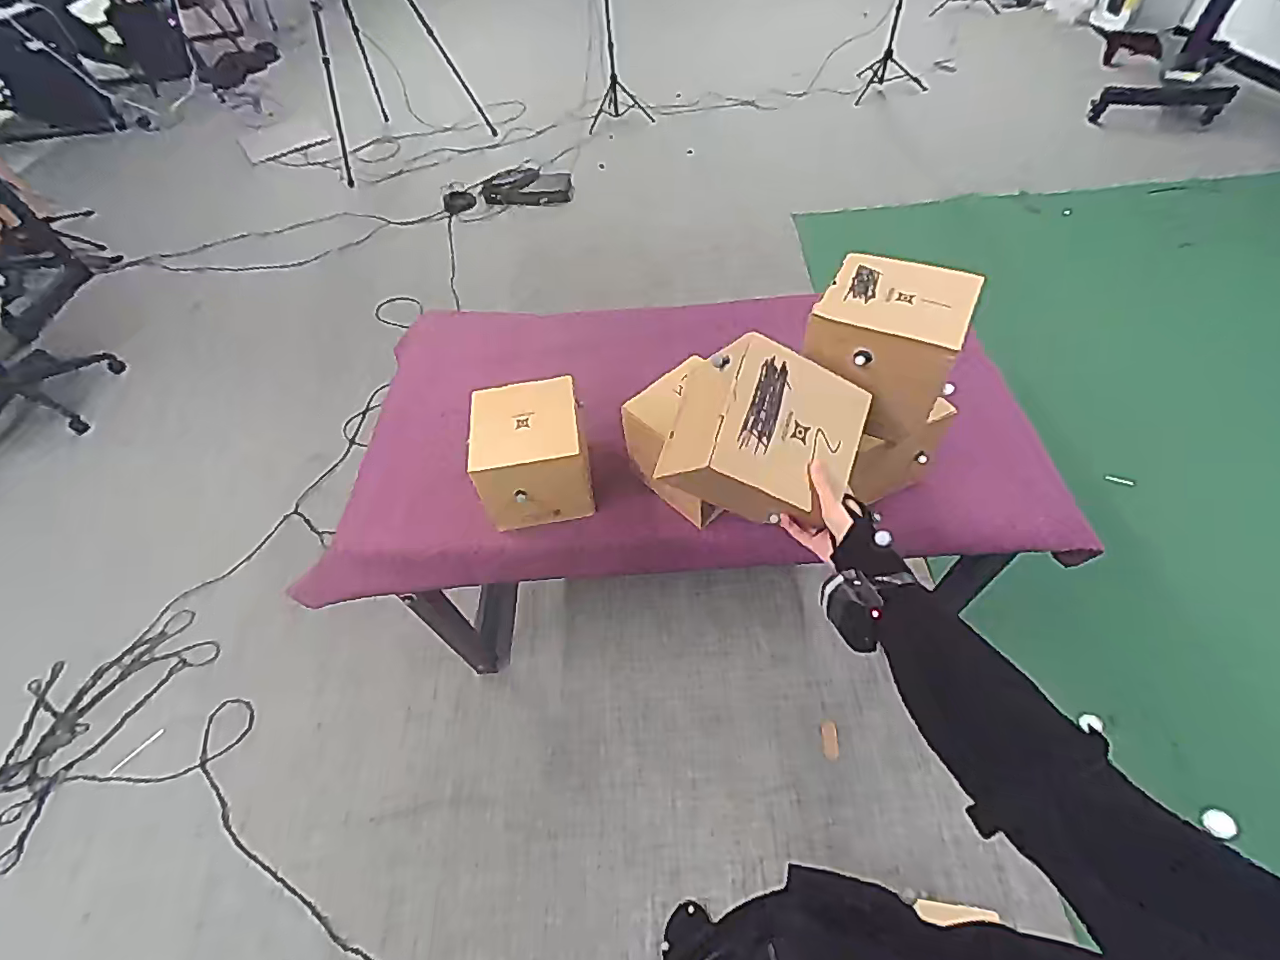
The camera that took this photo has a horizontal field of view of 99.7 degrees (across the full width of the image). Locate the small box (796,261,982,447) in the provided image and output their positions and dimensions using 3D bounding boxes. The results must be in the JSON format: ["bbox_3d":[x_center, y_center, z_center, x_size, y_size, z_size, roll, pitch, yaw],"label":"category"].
[{"bbox_3d":[0.332,-0.172,0.748,0.179,0.176,0.168,22,56,21],"label":"small box"}]

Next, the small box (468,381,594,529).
[{"bbox_3d":[-0.173,-0.034,0.894,0.168,0.176,0.179,-10,51,-2],"label":"small box"}]

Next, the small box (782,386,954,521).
[{"bbox_3d":[0.350,-0.065,0.870,0.179,0.176,0.168,-22,52,-11],"label":"small box"}]

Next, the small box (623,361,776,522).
[{"bbox_3d":[0.094,-0.055,0.884,0.168,0.176,0.179,-37,58,-22],"label":"small box"}]

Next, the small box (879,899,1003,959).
[{"bbox_3d":[0.566,0.916,1.026,0.179,0.176,0.168,4,54,9],"label":"small box"}]
